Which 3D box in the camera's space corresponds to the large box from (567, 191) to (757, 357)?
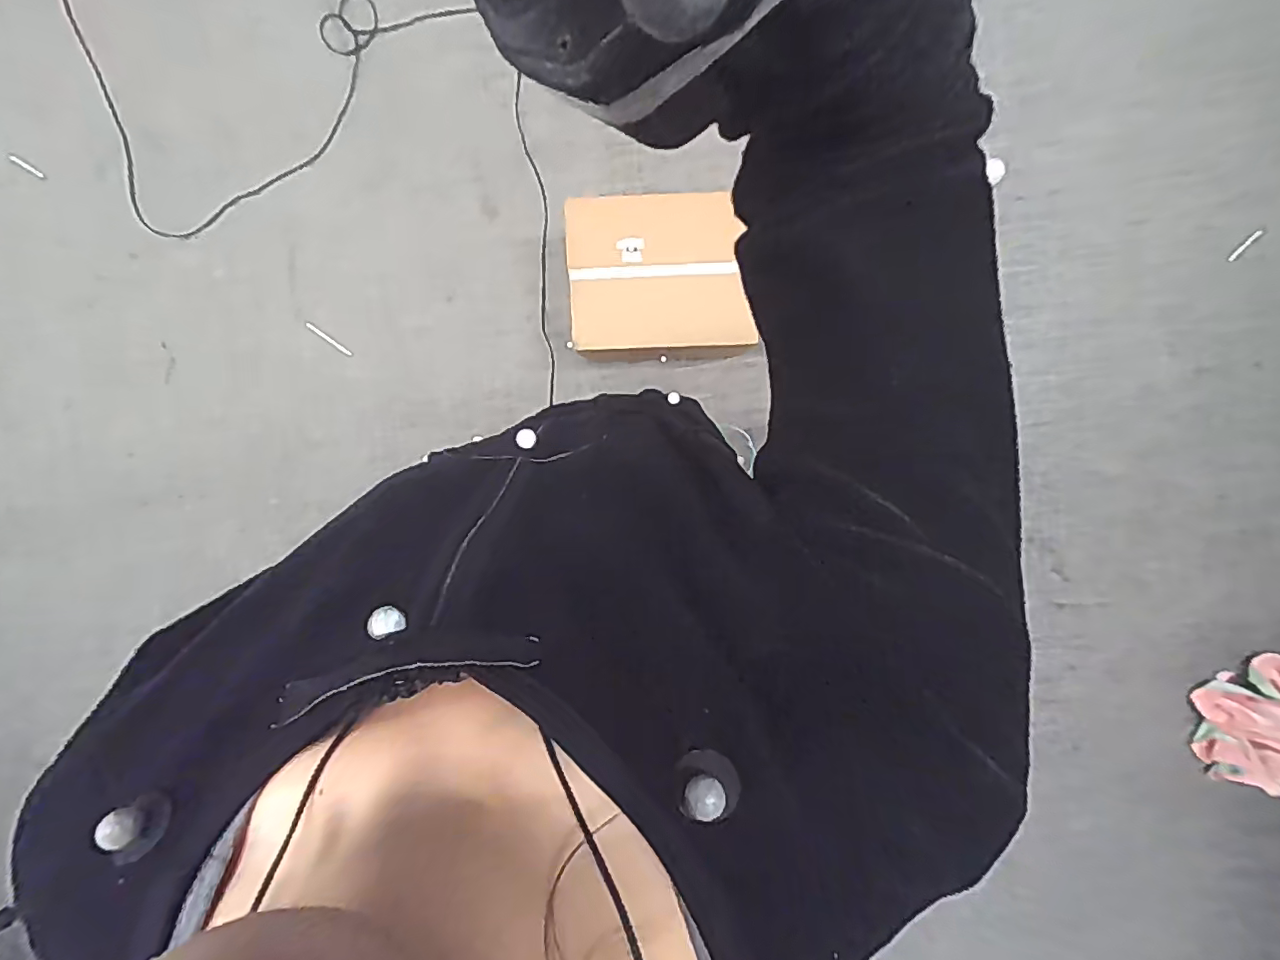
[{"bbox_3d":[0.055,-0.467,1.298,0.408,0.320,0.320,-1,98,2],"label":"large box"}]
